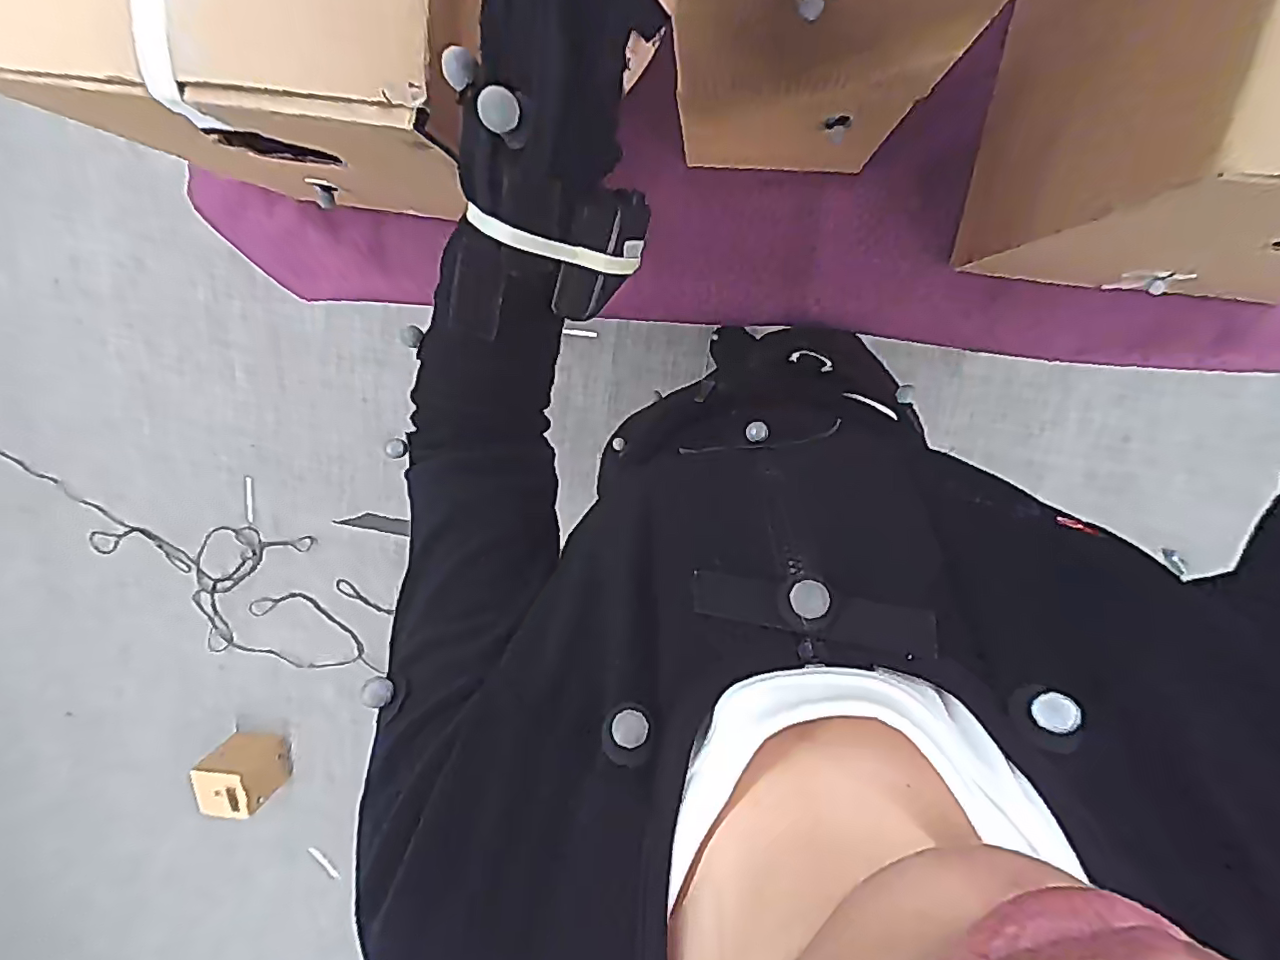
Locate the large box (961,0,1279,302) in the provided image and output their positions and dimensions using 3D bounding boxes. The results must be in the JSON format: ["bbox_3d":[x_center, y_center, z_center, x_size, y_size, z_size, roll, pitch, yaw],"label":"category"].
[{"bbox_3d":[0.462,-0.342,0.336,0.320,0.320,0.408,8,103,5],"label":"large box"}]
